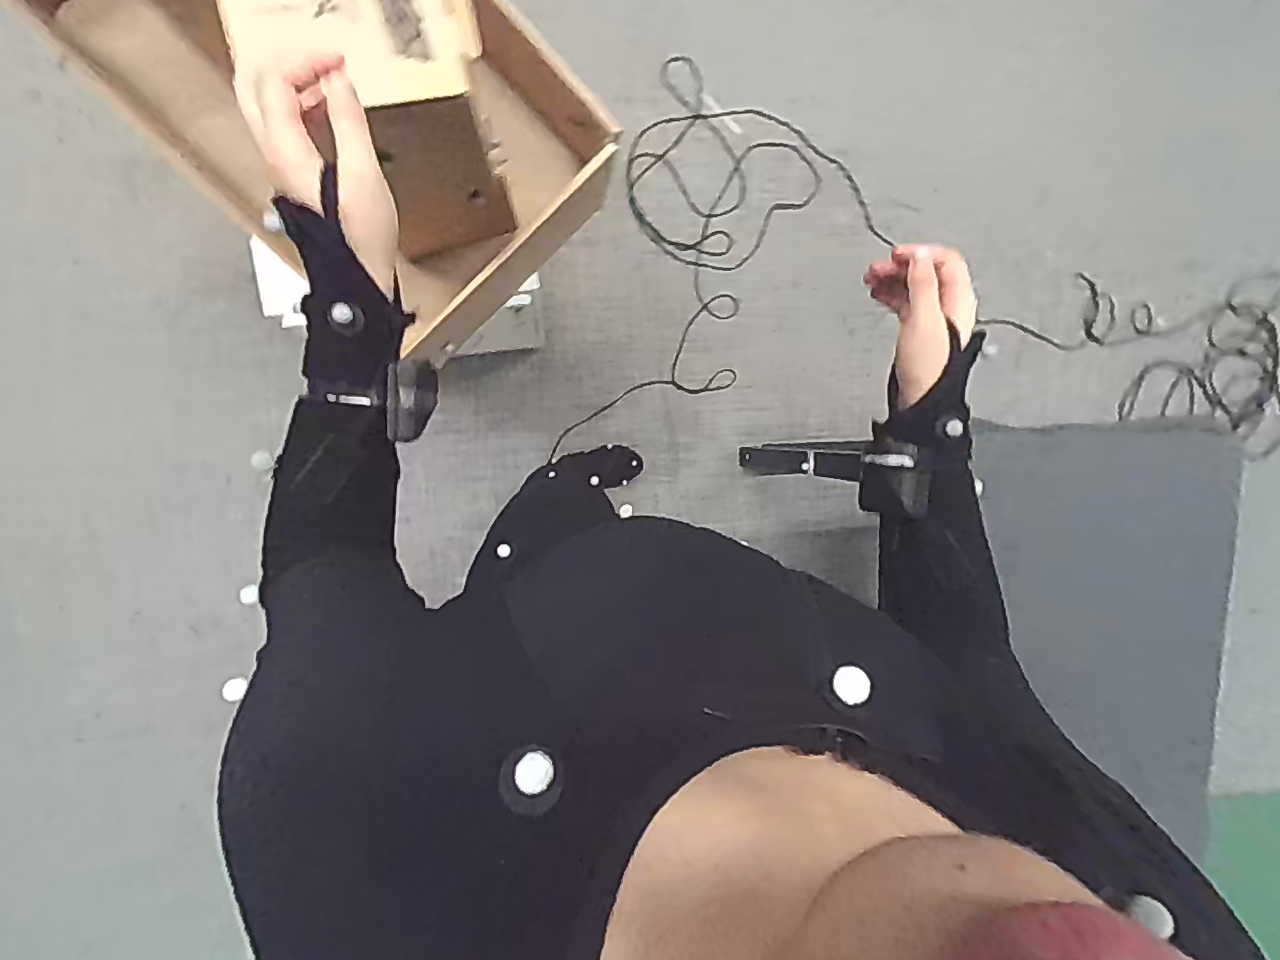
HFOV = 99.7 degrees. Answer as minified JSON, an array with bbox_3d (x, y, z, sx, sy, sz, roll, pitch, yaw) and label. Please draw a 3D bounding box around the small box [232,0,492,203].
[{"bbox_3d":[-0.249,-0.394,0.521,0.179,0.176,0.168,-12,95,-5],"label":"small box"}]
